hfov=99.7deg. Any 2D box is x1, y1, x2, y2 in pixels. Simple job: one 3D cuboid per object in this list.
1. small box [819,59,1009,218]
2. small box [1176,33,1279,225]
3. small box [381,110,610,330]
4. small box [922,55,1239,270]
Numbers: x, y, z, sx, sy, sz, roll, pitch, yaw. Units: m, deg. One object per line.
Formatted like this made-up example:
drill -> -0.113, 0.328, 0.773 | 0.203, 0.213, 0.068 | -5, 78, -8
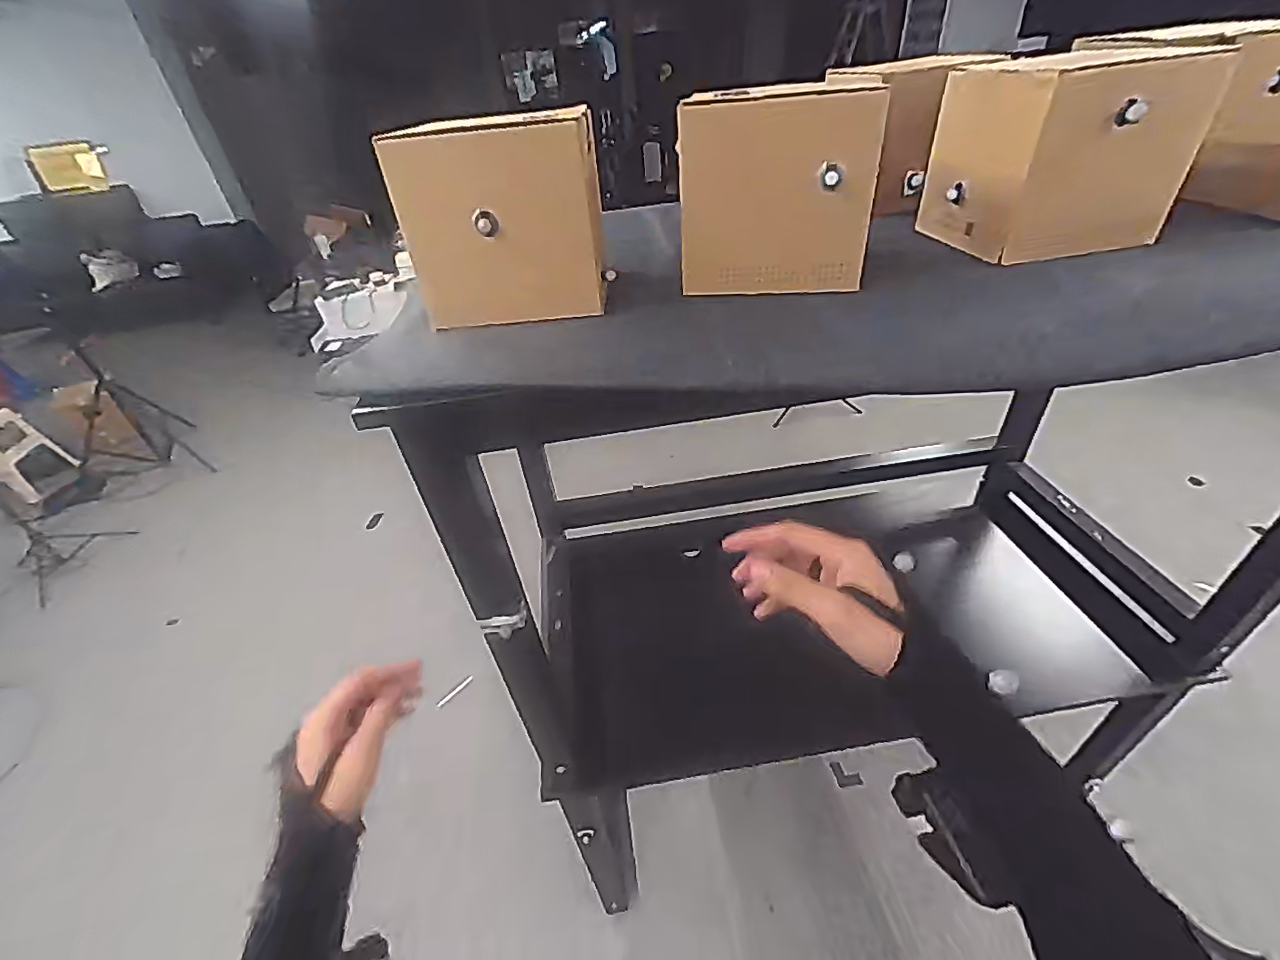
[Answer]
small box -> 0.372, -0.488, 0.776 | 0.168, 0.176, 0.179 | -9, 38, -3
small box -> 0.763, -0.387, 0.589 | 0.168, 0.176, 0.179 | -5, 38, 3
small box -> -0.126, -0.269, 0.560 | 0.179, 0.176, 0.168 | -5, 37, 2
small box -> 0.441, -0.342, 0.582 | 0.179, 0.176, 0.168 | -9, 38, -3
